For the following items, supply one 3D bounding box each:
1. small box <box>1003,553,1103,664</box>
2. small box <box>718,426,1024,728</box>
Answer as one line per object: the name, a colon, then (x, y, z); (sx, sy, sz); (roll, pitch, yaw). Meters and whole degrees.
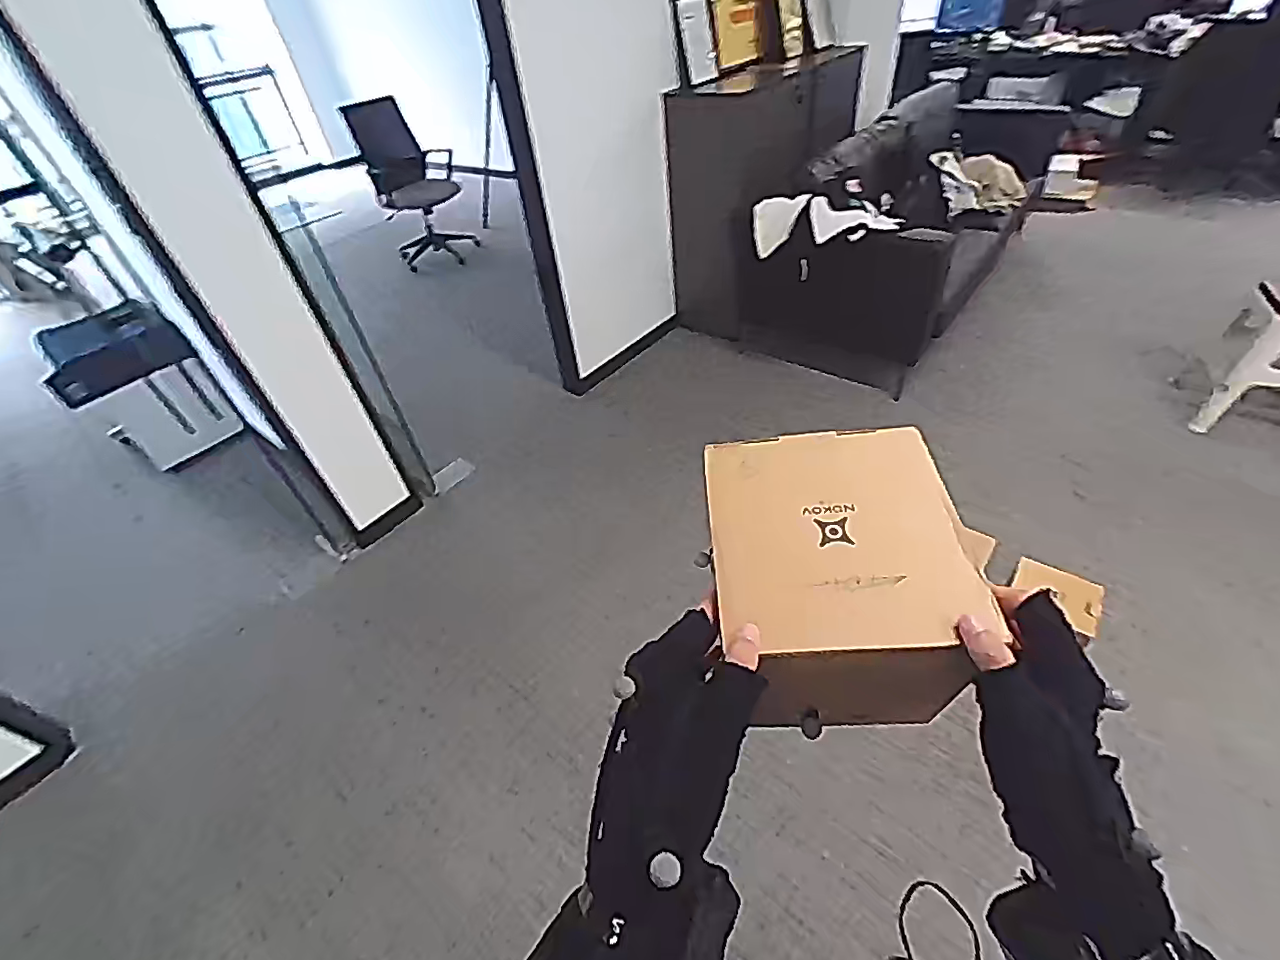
small box: (0.986, 0.318, 1.329); (0.179, 0.176, 0.168); (24, 52, 29)
small box: (0.148, 0.081, 0.427); (0.168, 0.176, 0.179); (-4, 52, 7)
